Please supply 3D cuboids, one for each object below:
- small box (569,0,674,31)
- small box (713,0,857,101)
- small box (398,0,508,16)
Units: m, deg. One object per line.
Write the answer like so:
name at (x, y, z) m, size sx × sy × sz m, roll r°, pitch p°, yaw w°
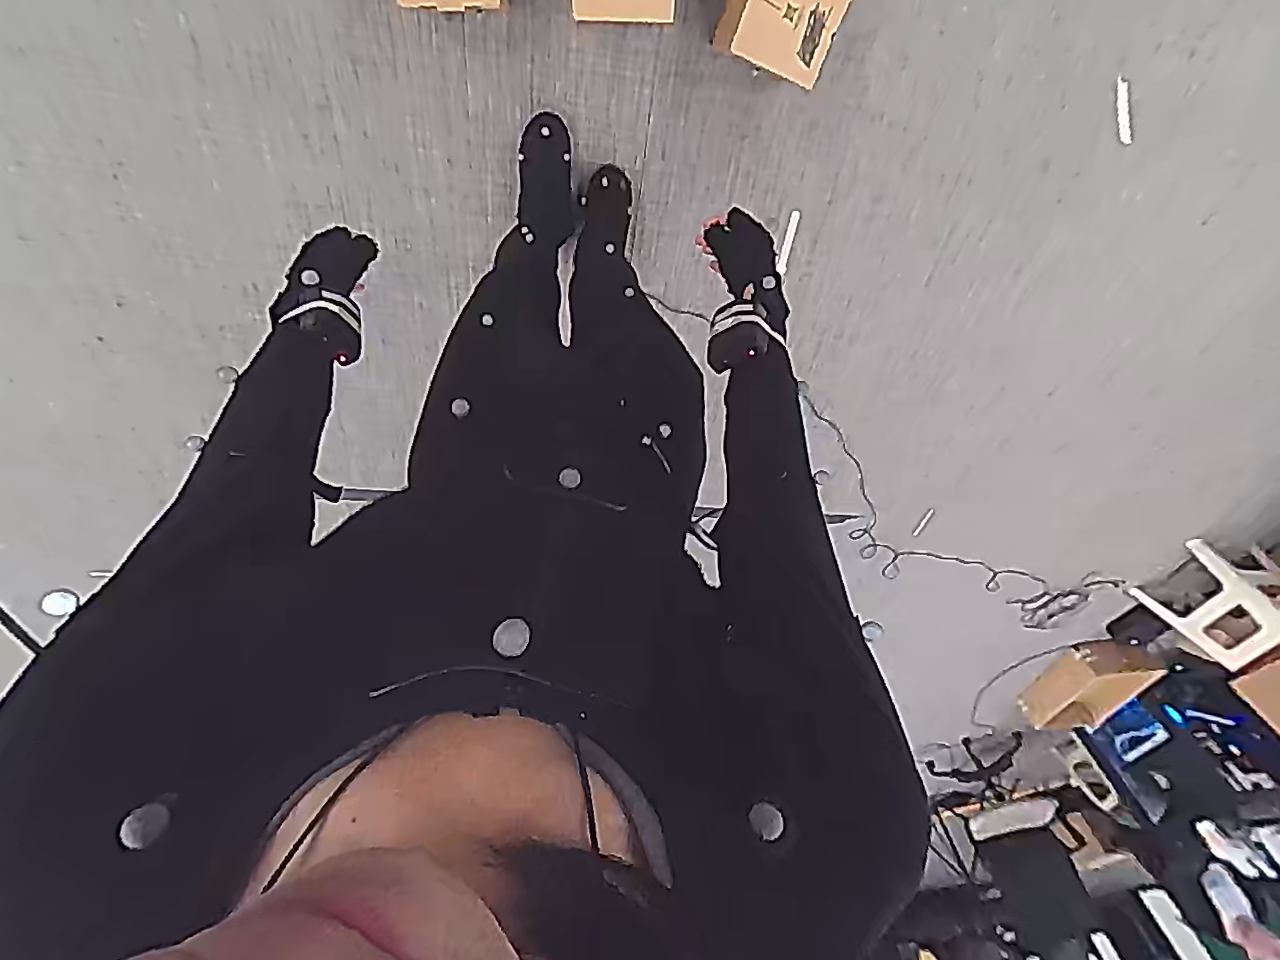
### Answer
small box at (-0.034, -0.880, 0.925) m, size 0.179 × 0.176 × 0.168 m, roll -2°, pitch 131°, yaw -6°
small box at (0.257, -0.840, 1.000) m, size 0.179 × 0.176 × 0.168 m, roll 13°, pitch 127°, yaw -17°
small box at (-0.316, -0.879, 0.887) m, size 0.168 × 0.176 × 0.179 m, roll -5°, pitch 130°, yaw -5°
